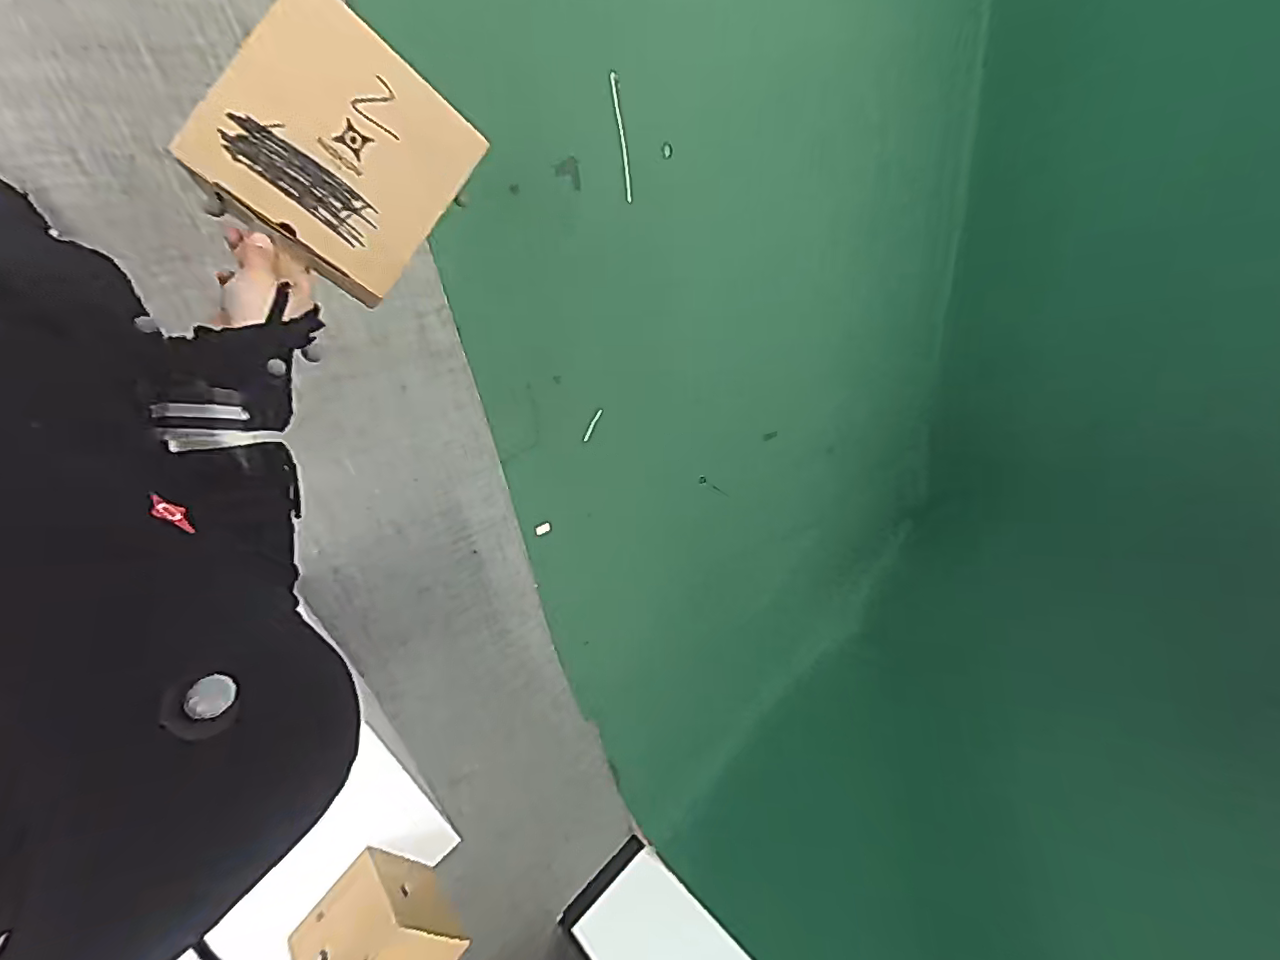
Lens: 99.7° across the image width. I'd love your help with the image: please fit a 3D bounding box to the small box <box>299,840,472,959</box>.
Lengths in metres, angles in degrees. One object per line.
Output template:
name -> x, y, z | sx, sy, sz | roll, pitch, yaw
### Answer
small box -> -0.425, 0.744, 0.901 | 0.168, 0.176, 0.179 | -48, 134, -18
